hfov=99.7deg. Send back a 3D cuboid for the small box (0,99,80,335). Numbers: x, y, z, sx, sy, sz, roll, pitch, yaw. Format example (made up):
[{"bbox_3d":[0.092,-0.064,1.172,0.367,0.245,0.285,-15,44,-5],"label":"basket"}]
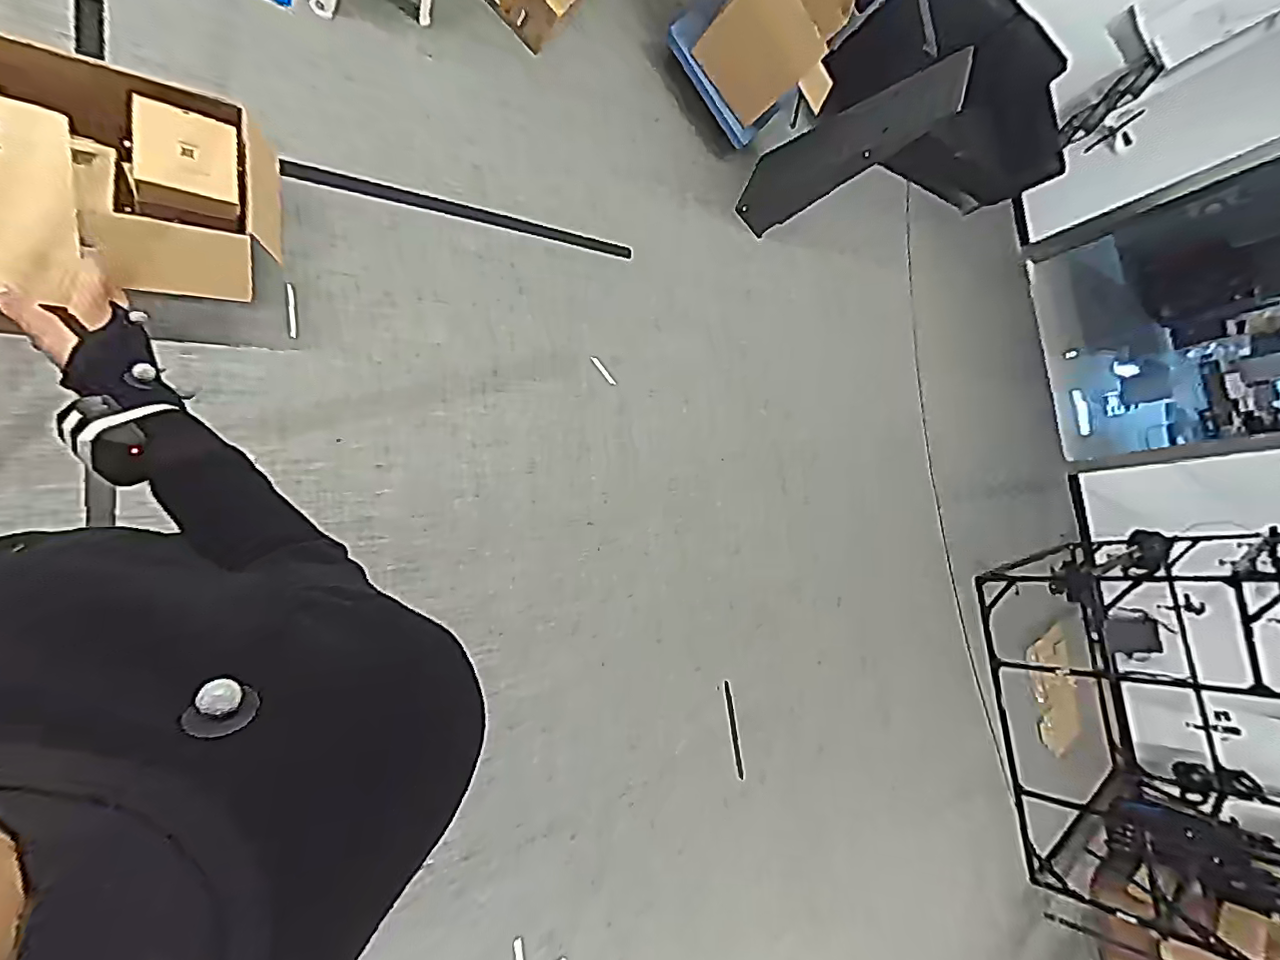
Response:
[{"bbox_3d":[-0.631,-0.236,0.484,0.168,0.176,0.179,-7,95,-50],"label":"small box"}]
